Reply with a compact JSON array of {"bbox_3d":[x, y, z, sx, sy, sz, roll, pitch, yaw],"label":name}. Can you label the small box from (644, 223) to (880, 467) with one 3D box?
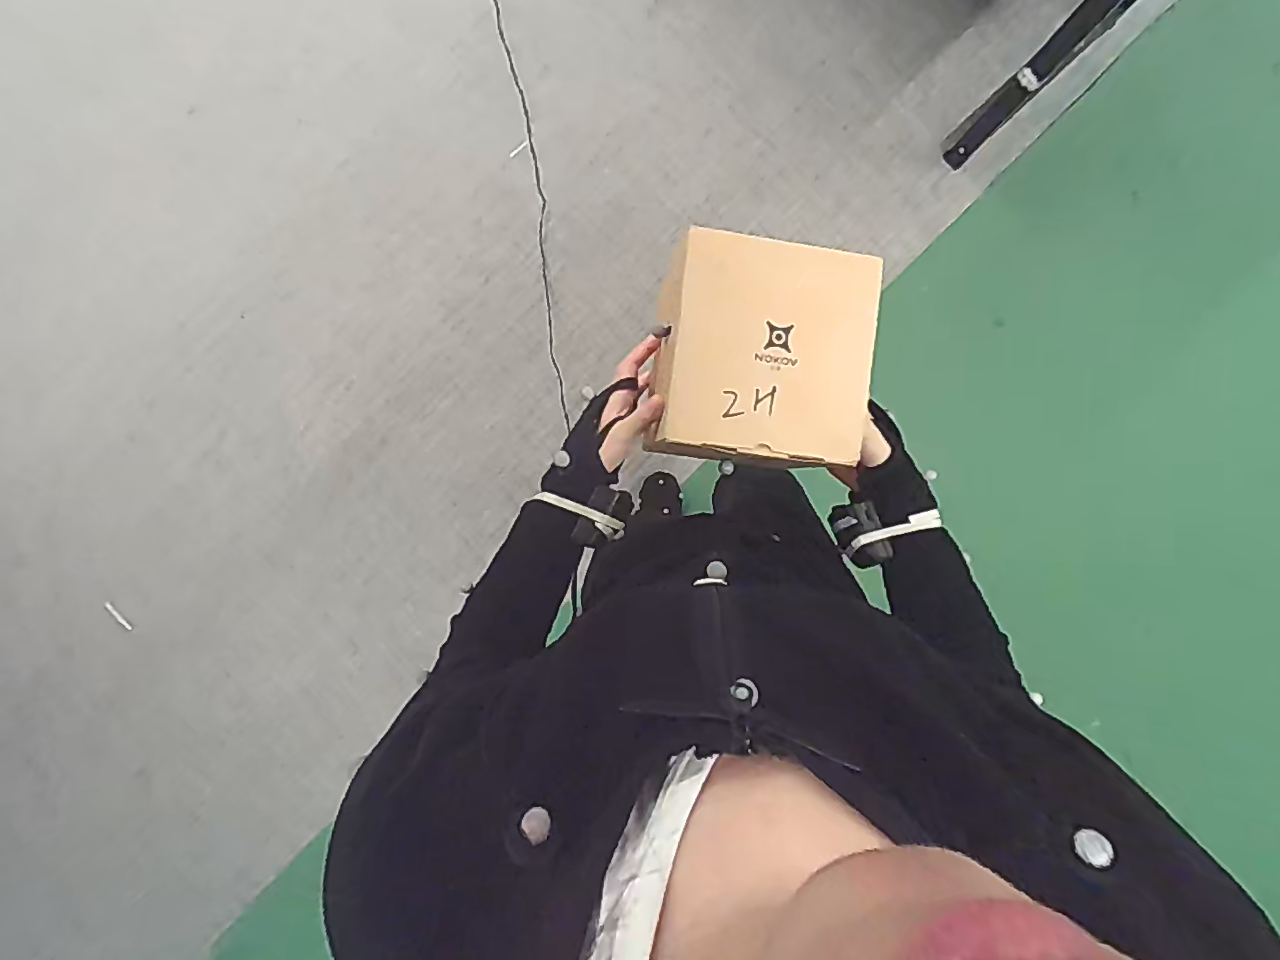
[{"bbox_3d":[0.100,-0.110,0.519,0.168,0.176,0.179,7,90,-6],"label":"small box"}]
